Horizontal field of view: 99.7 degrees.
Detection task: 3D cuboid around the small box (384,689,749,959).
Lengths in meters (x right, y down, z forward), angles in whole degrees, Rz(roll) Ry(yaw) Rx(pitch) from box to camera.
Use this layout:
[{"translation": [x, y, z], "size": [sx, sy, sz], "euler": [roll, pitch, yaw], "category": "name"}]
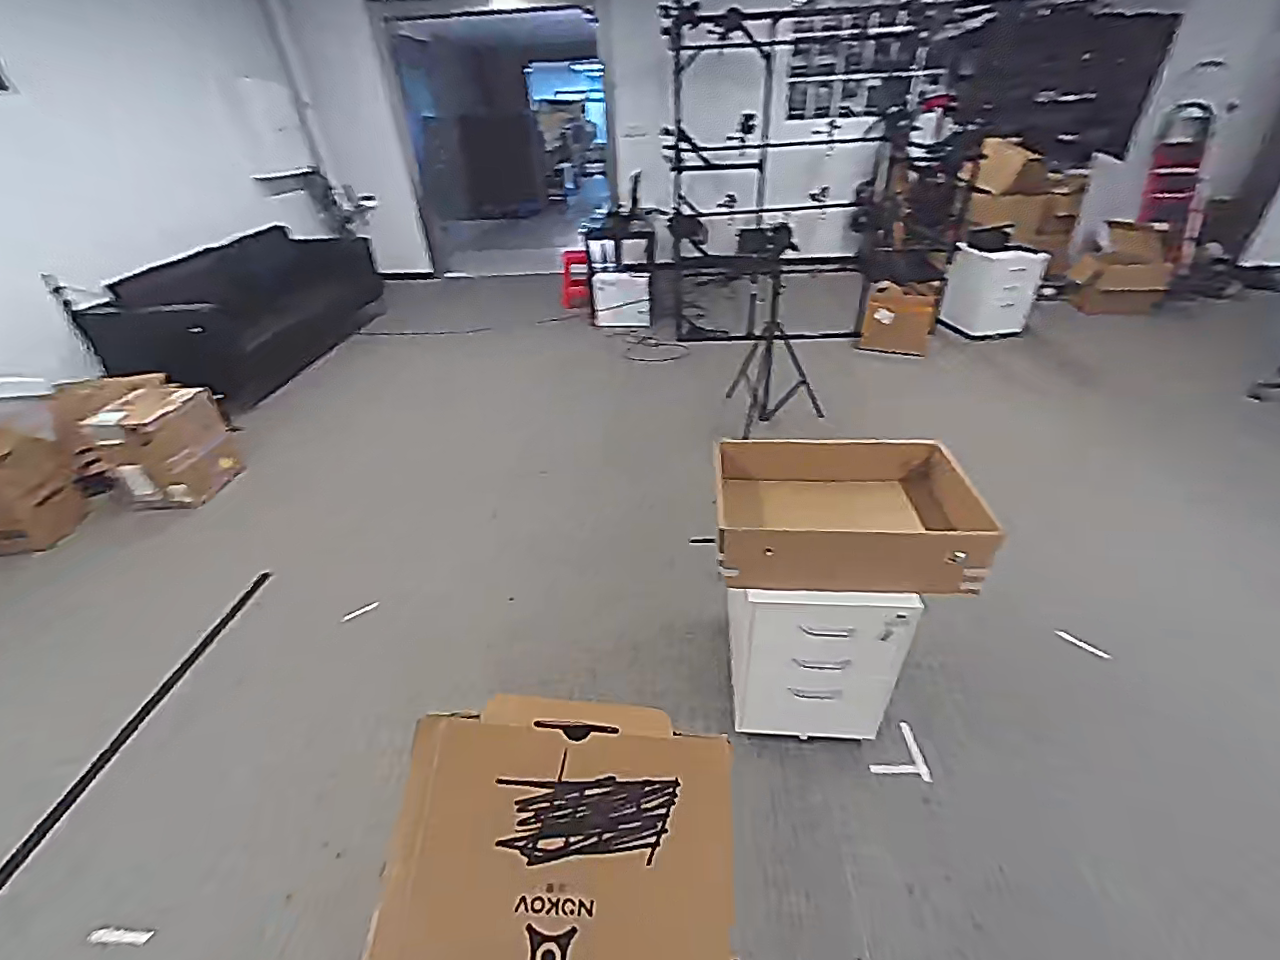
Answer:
[{"translation": [-0.037, 0.237, 0.322], "size": [0.168, 0.176, 0.179], "euler": [6, 60, -2], "category": "small box"}]
